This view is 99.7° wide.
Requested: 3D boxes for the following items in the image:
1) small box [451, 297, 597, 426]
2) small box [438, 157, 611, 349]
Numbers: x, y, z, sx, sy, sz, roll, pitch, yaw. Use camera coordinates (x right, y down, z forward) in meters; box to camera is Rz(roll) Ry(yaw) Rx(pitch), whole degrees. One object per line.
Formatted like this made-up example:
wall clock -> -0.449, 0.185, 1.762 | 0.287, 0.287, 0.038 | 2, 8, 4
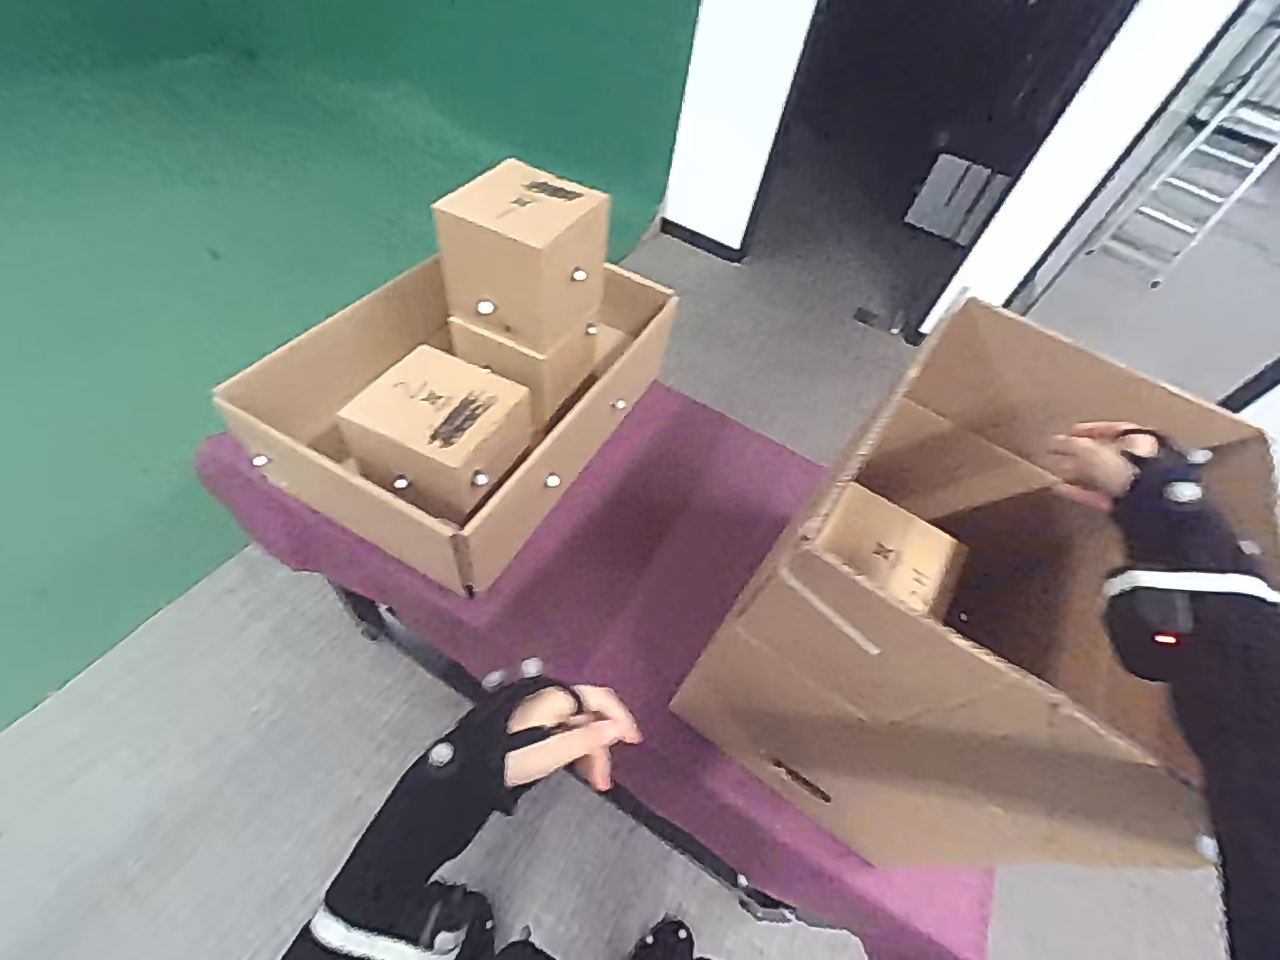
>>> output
small box -> -0.184, -0.221, 0.906 | 0.168, 0.176, 0.179 | 25, 53, 10
small box -> -0.159, -0.324, 0.780 | 0.168, 0.176, 0.179 | 25, 55, 11
